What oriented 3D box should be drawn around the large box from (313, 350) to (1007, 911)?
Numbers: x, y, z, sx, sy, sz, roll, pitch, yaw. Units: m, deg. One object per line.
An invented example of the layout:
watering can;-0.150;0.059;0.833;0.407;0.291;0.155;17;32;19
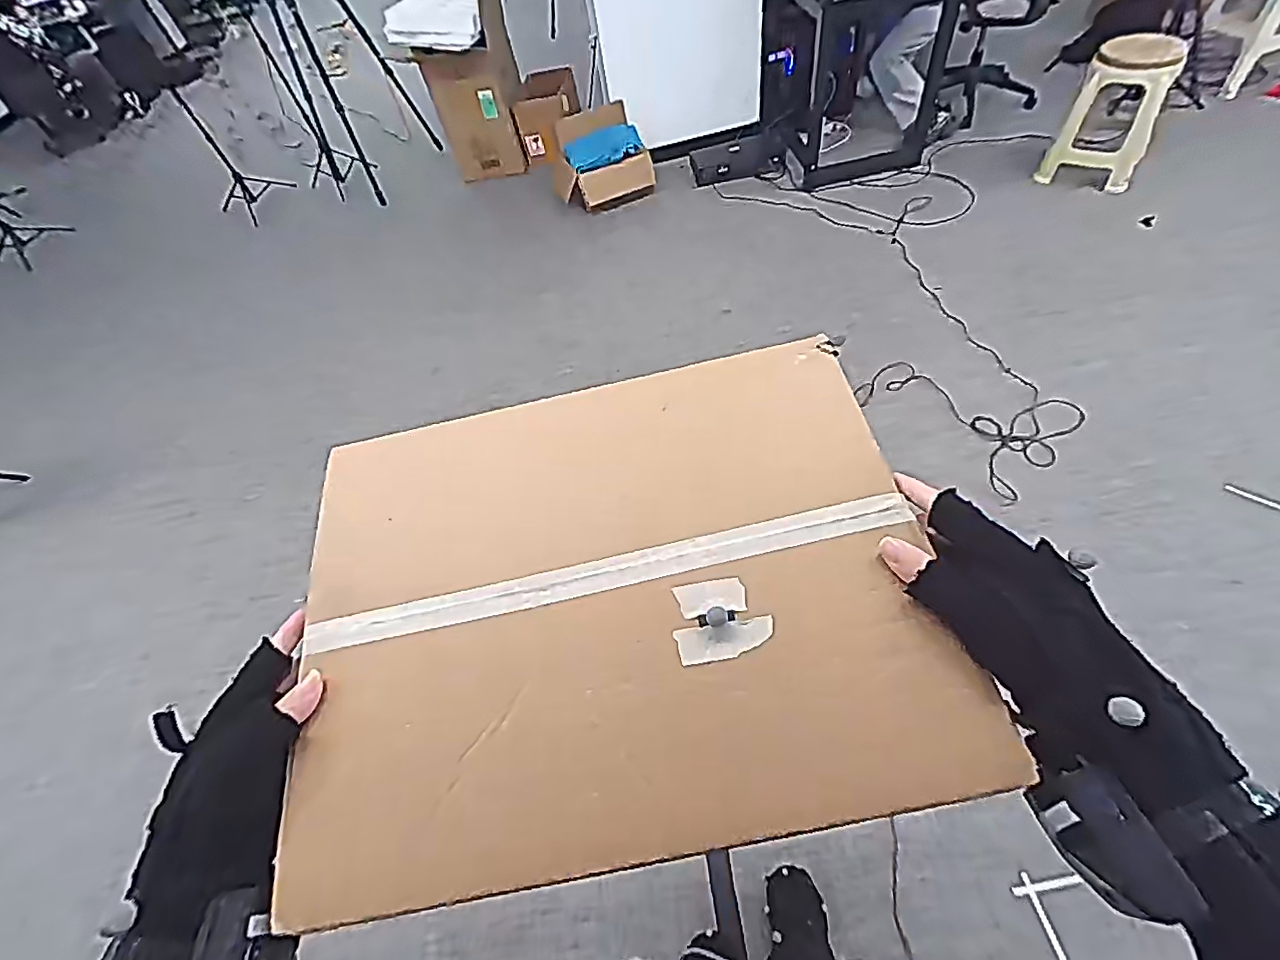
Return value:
large box;0.000;0.138;0.499;0.408;0.320;0.320;-13;61;1
